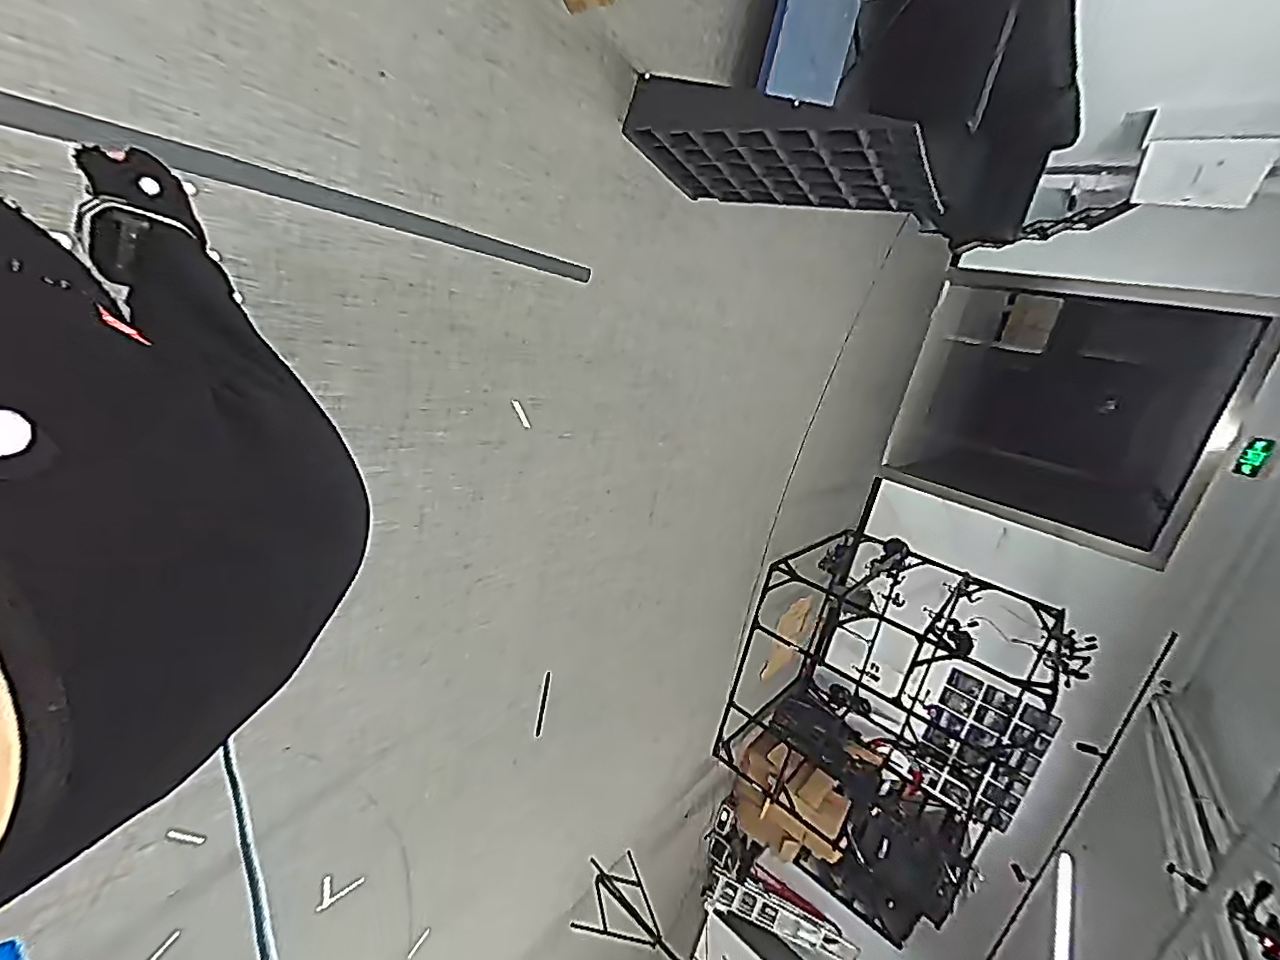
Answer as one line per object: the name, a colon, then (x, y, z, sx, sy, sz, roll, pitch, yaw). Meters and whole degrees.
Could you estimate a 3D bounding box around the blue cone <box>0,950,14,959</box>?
blue cone: (-1.458, 1.269, 1.161, 0.192, 0.380, 0.193, -13, 120, -51)
